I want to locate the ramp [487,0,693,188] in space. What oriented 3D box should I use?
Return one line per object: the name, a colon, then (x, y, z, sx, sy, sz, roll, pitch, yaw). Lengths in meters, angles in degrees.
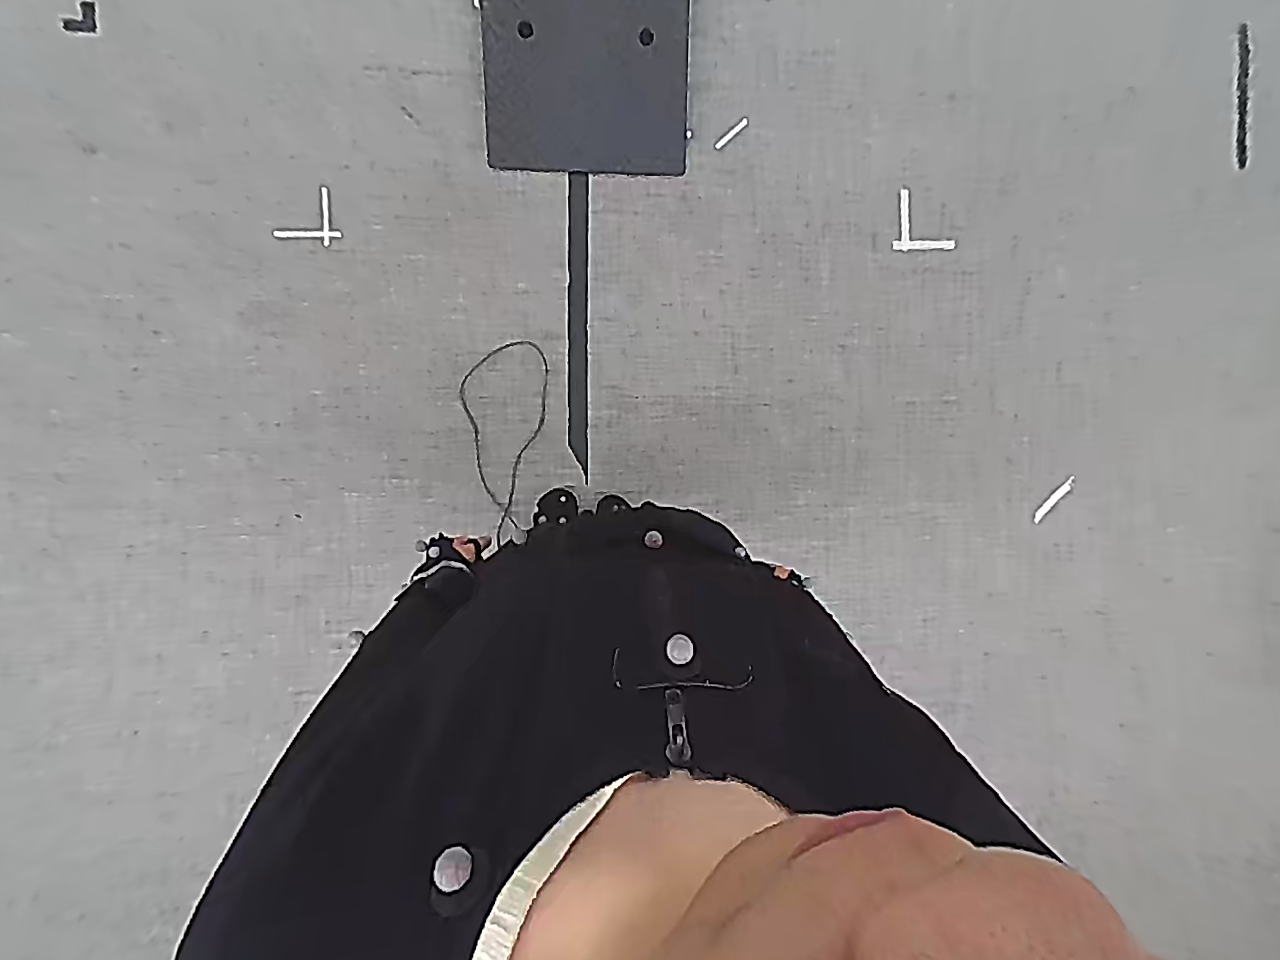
ramp: (-0.114, -1.230, 1.265, 0.509, 0.206, 0.991, -3, 92, -6)
